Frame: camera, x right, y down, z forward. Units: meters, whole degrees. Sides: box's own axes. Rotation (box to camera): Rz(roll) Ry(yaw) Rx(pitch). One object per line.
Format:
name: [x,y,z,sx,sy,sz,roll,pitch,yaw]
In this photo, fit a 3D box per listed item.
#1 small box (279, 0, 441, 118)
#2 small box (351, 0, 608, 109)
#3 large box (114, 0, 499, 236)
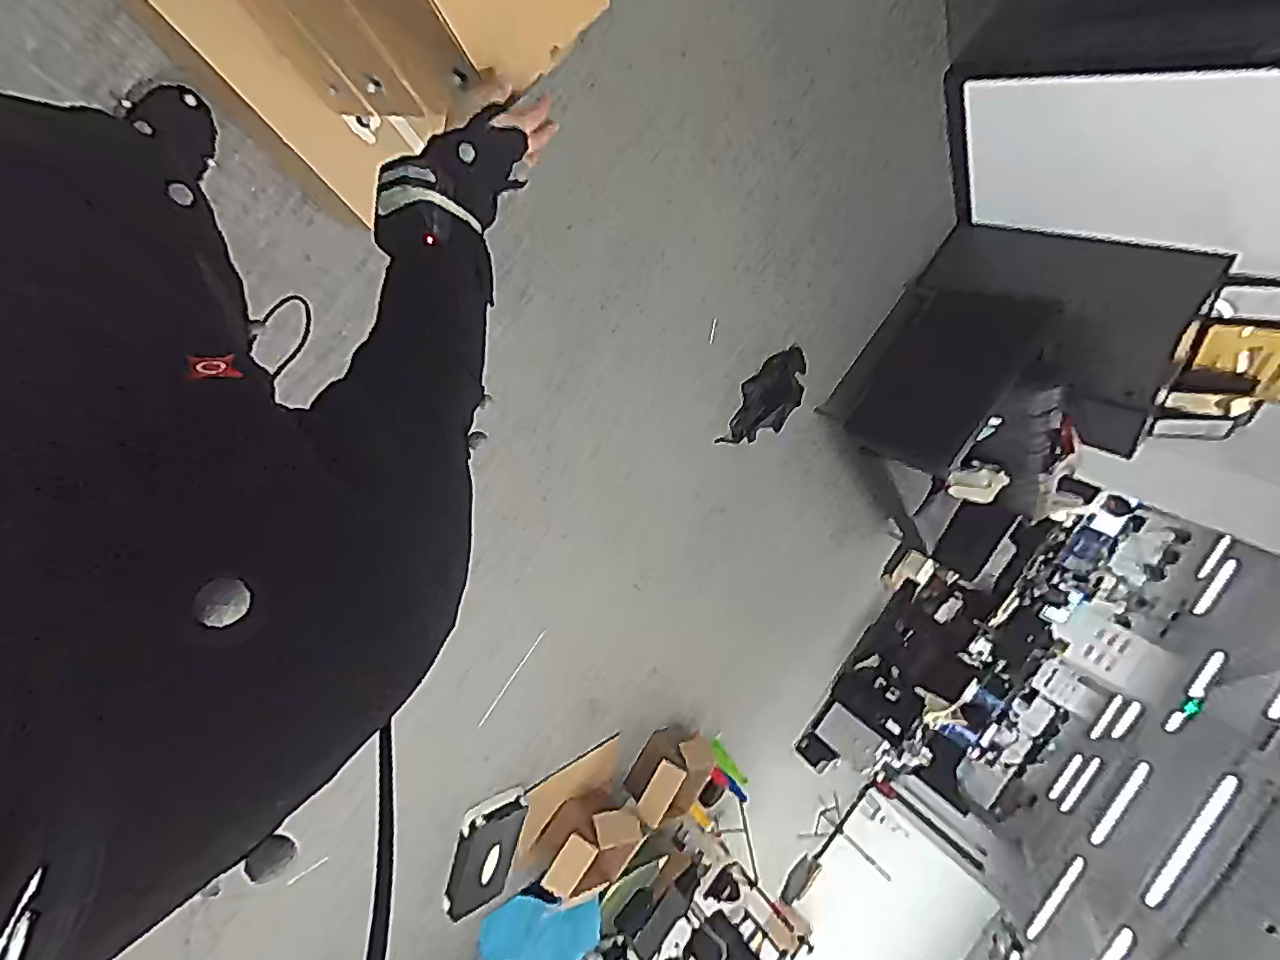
small box: [-0.282,-0.547,0.605,0.168,0.176,0.179,-53,140,-5]
small box: [-0.169,-0.483,0.507,0.168,0.176,0.179,-51,142,-7]
large box: [-0.530,-0.693,0.896,0.320,0.320,0.408,-50,141,-6]
